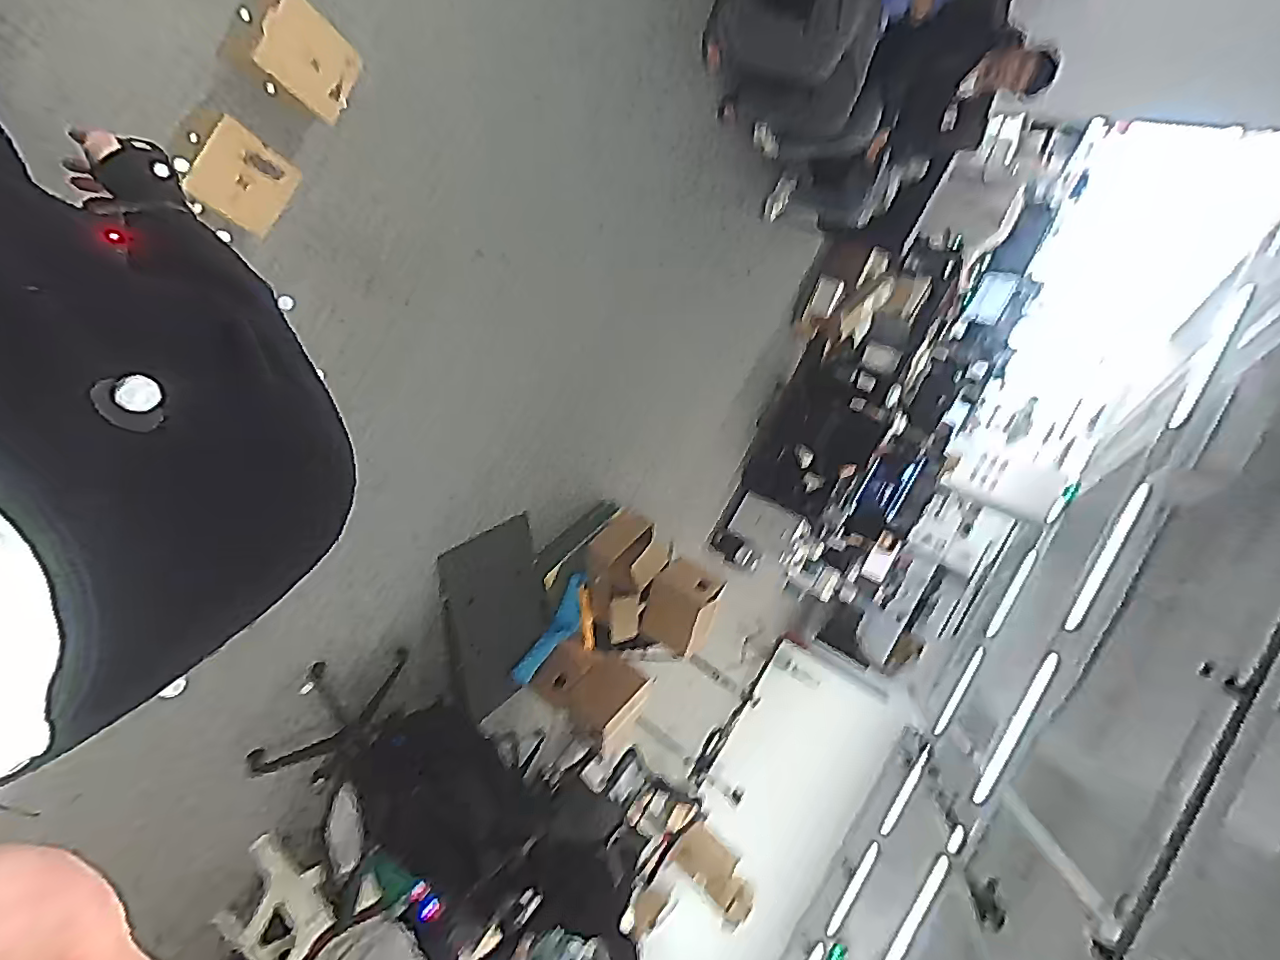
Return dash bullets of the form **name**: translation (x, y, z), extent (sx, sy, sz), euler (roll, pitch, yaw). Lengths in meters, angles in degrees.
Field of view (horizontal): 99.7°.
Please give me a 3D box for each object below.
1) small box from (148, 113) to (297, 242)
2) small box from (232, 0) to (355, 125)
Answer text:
- **small box**: translation (-0.893, -0.648, 1.155), extent (0.179, 0.176, 0.168), euler (-59, 150, -7)
- **small box**: translation (-0.748, -0.896, 1.170), extent (0.168, 0.176, 0.179), euler (-26, 134, -51)
